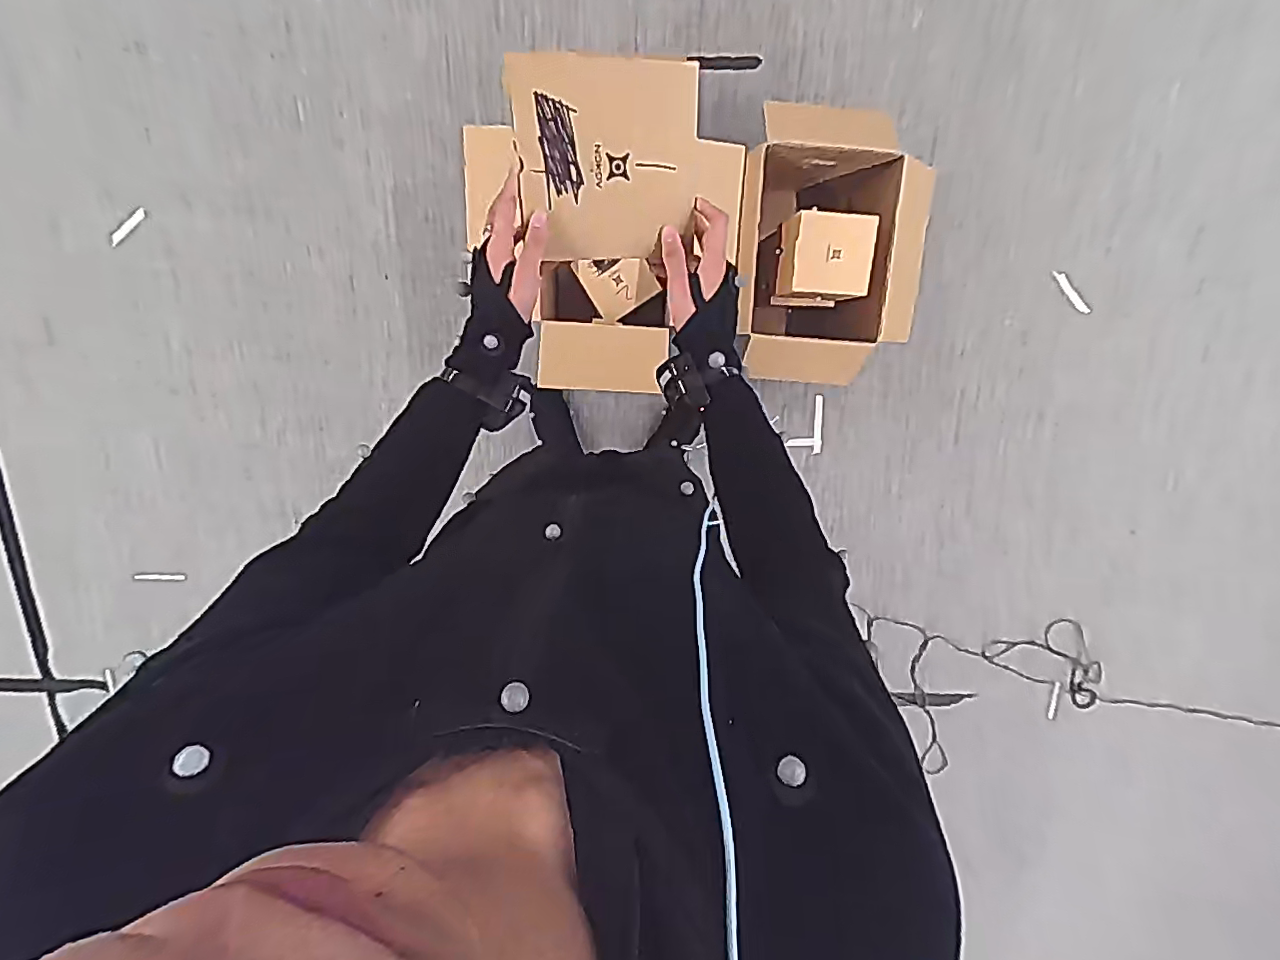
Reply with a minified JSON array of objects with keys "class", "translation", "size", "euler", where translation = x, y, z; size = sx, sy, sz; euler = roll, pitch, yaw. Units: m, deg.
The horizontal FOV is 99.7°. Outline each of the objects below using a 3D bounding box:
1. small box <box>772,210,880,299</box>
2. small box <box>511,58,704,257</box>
[{"class":"small box","translation":[0.422,-0.514,1.252],"size":[0.179,0.176,0.168],"euler":[3,106,-2]},{"class":"small box","translation":[-0.033,-0.338,0.592],"size":[0.179,0.176,0.168],"euler":[-1,117,-3]}]
